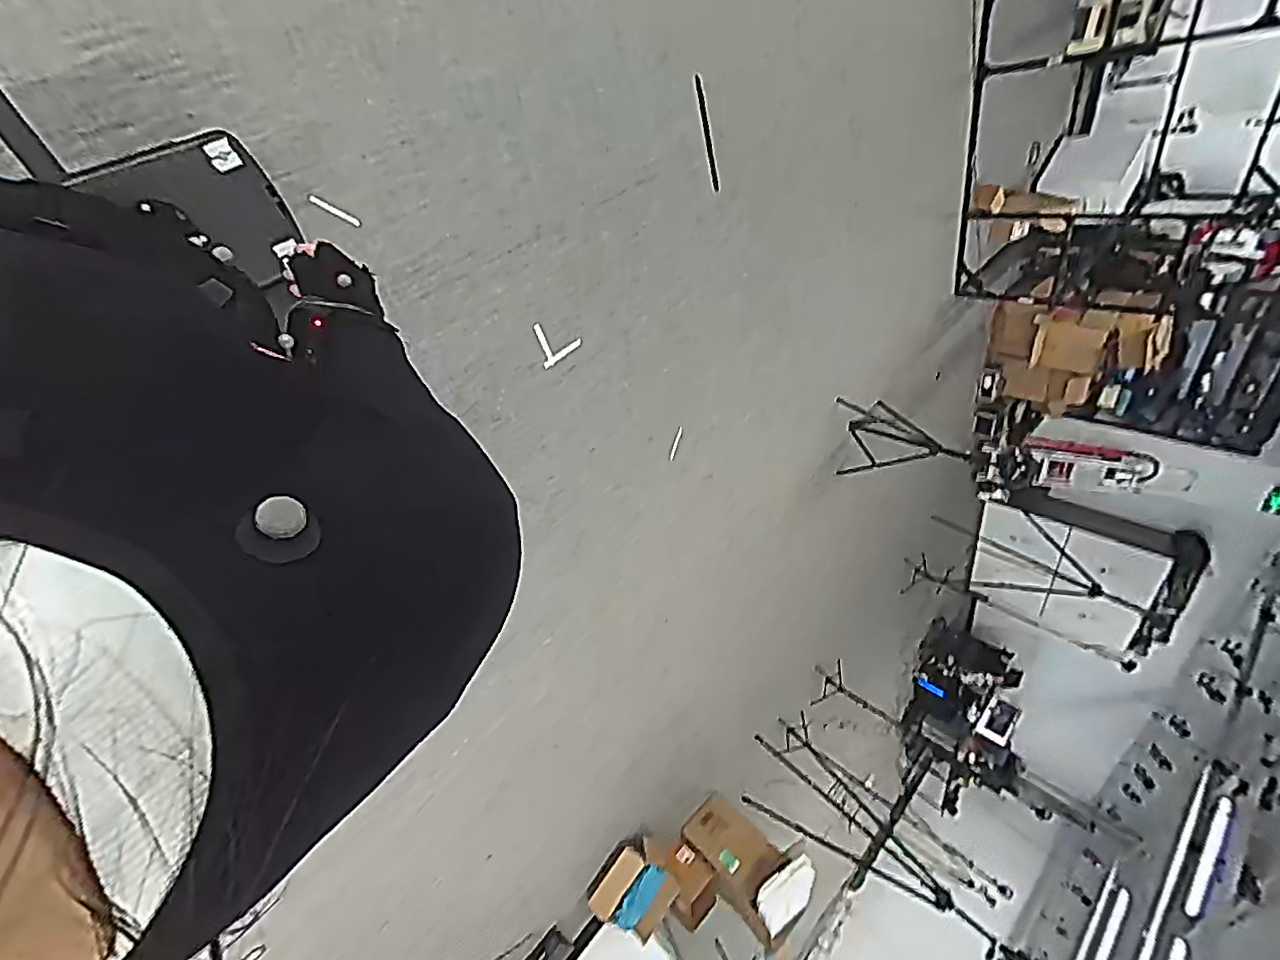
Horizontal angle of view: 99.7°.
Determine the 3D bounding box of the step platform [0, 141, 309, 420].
[{"bbox_3d":[-1.050,-0.408,1.068,0.684,0.204,0.286,-42,134,-24],"label":"step platform"}]
